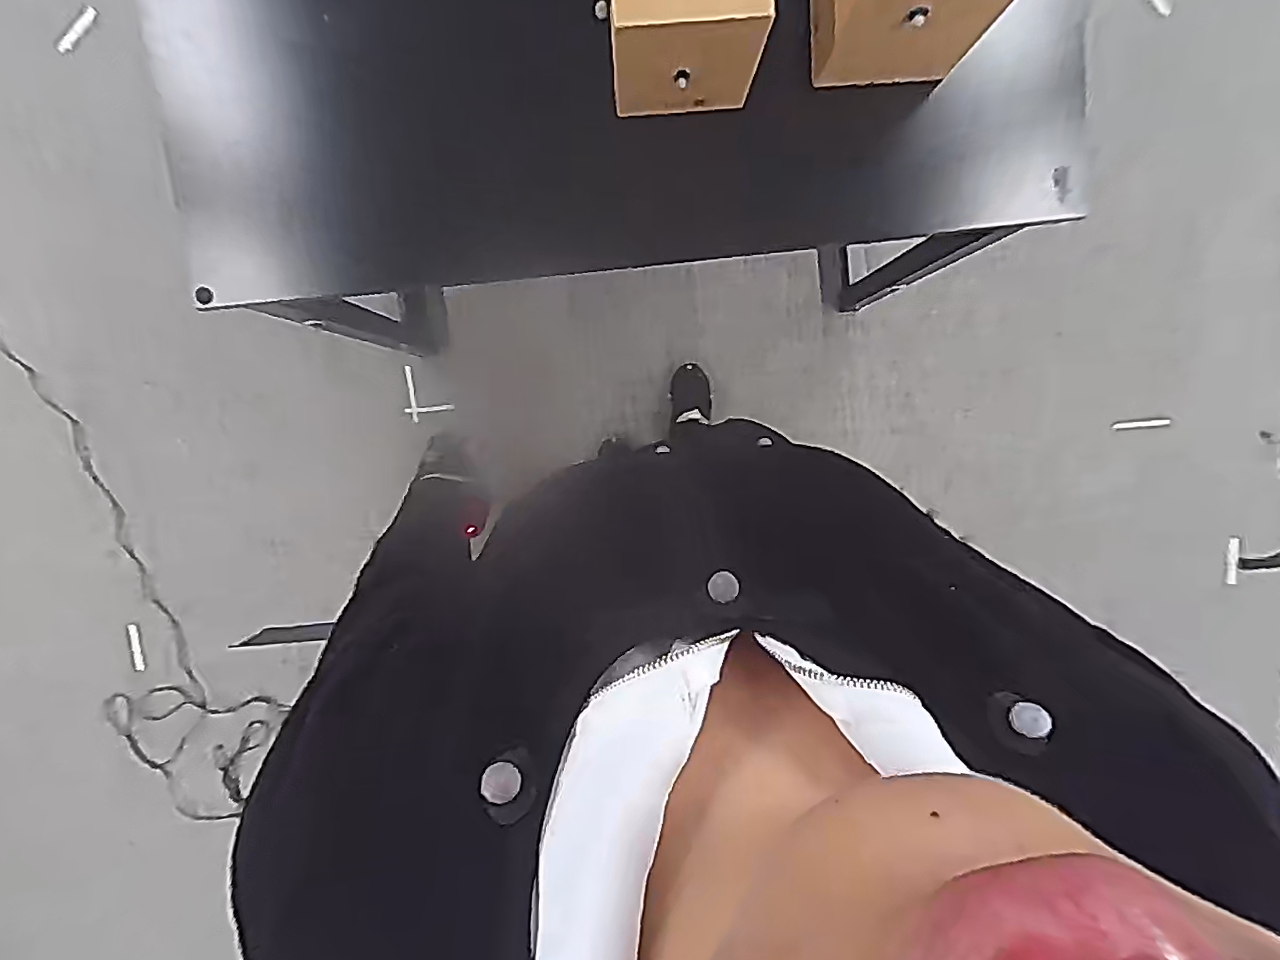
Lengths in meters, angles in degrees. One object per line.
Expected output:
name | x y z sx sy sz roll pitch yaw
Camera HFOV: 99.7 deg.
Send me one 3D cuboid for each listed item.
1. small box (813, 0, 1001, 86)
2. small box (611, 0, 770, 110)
small box | 0.308 -0.594 0.628 0.179 0.176 0.168 -4 96 -1
small box | 0.049 -0.561 0.628 0.168 0.176 0.179 -4 96 -1
